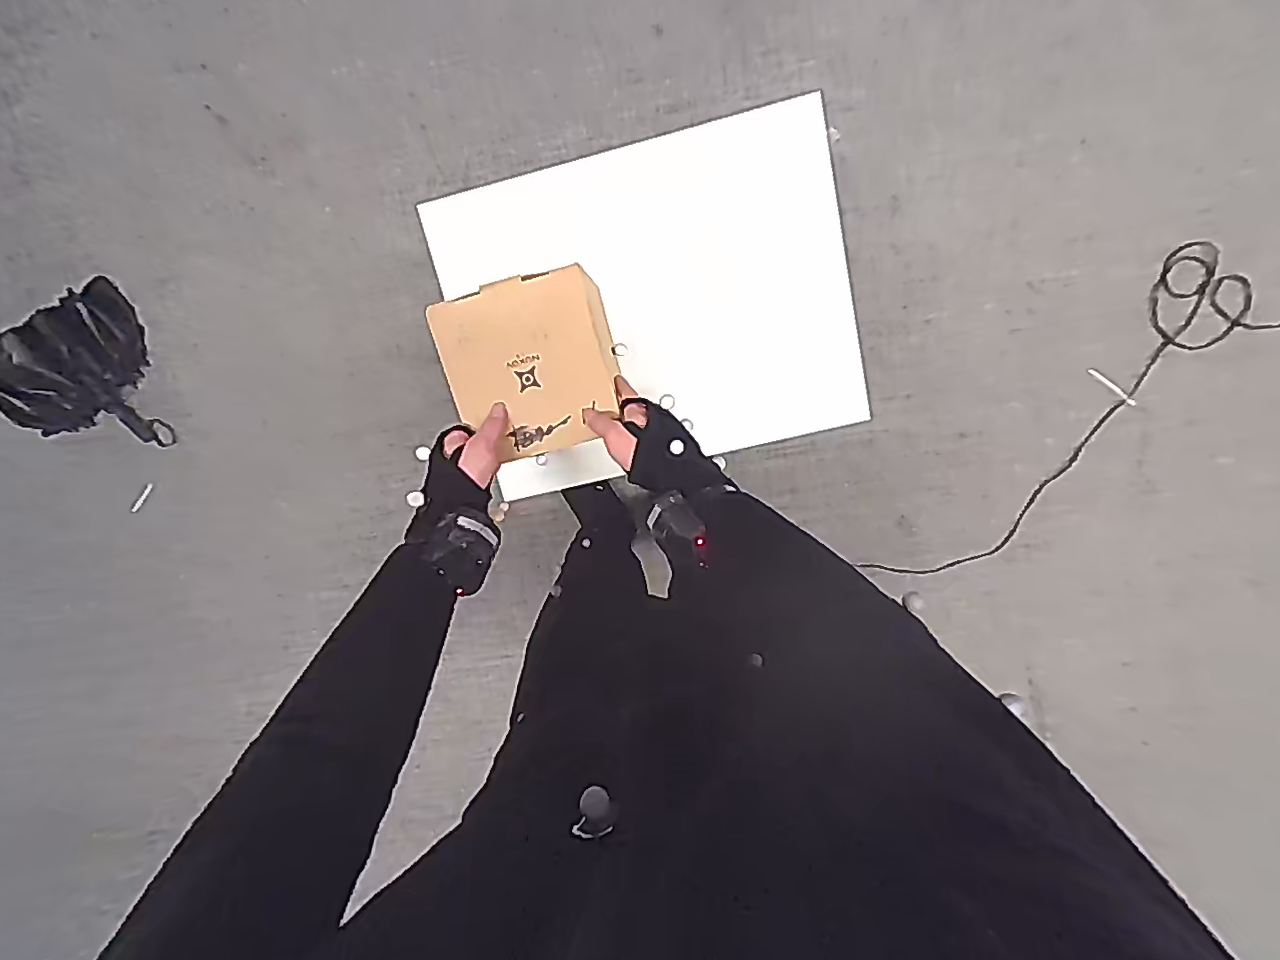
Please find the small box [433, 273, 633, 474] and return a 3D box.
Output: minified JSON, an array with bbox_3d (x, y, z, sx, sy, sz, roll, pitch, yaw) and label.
[{"bbox_3d":[-0.110,-0.122,0.638,0.168,0.176,0.179,-15,101,6],"label":"small box"}]
